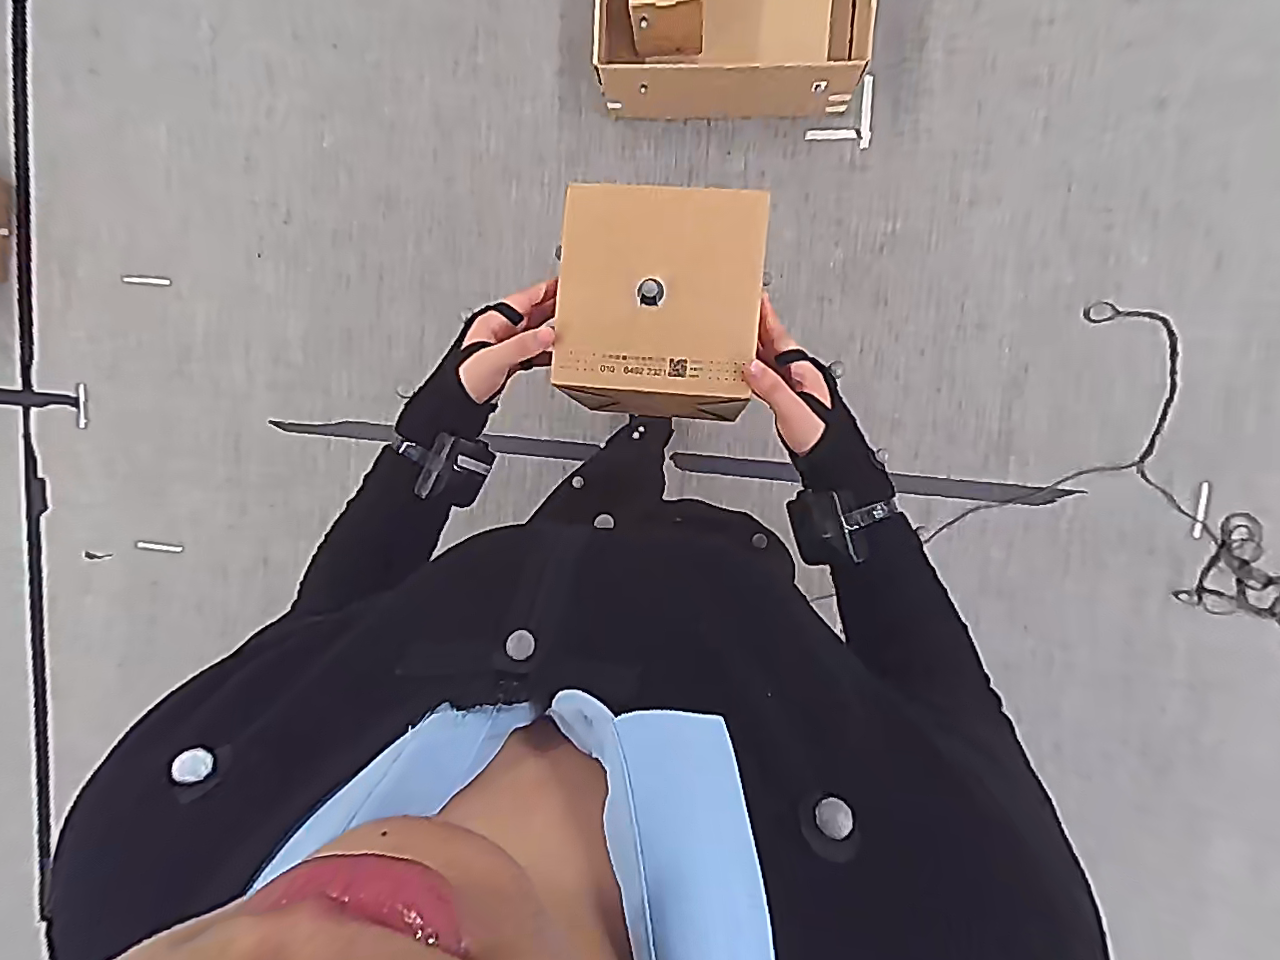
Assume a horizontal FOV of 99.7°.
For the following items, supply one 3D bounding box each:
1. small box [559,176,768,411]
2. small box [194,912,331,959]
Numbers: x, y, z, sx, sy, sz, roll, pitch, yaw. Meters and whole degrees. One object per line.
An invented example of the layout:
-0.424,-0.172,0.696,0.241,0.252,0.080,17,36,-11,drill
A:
0.024,-0.159,0.514,0.168,0.179,0.176,6,91,6,small box
-0.579,0.789,0.782,0.168,0.176,0.179,9,96,5,small box
